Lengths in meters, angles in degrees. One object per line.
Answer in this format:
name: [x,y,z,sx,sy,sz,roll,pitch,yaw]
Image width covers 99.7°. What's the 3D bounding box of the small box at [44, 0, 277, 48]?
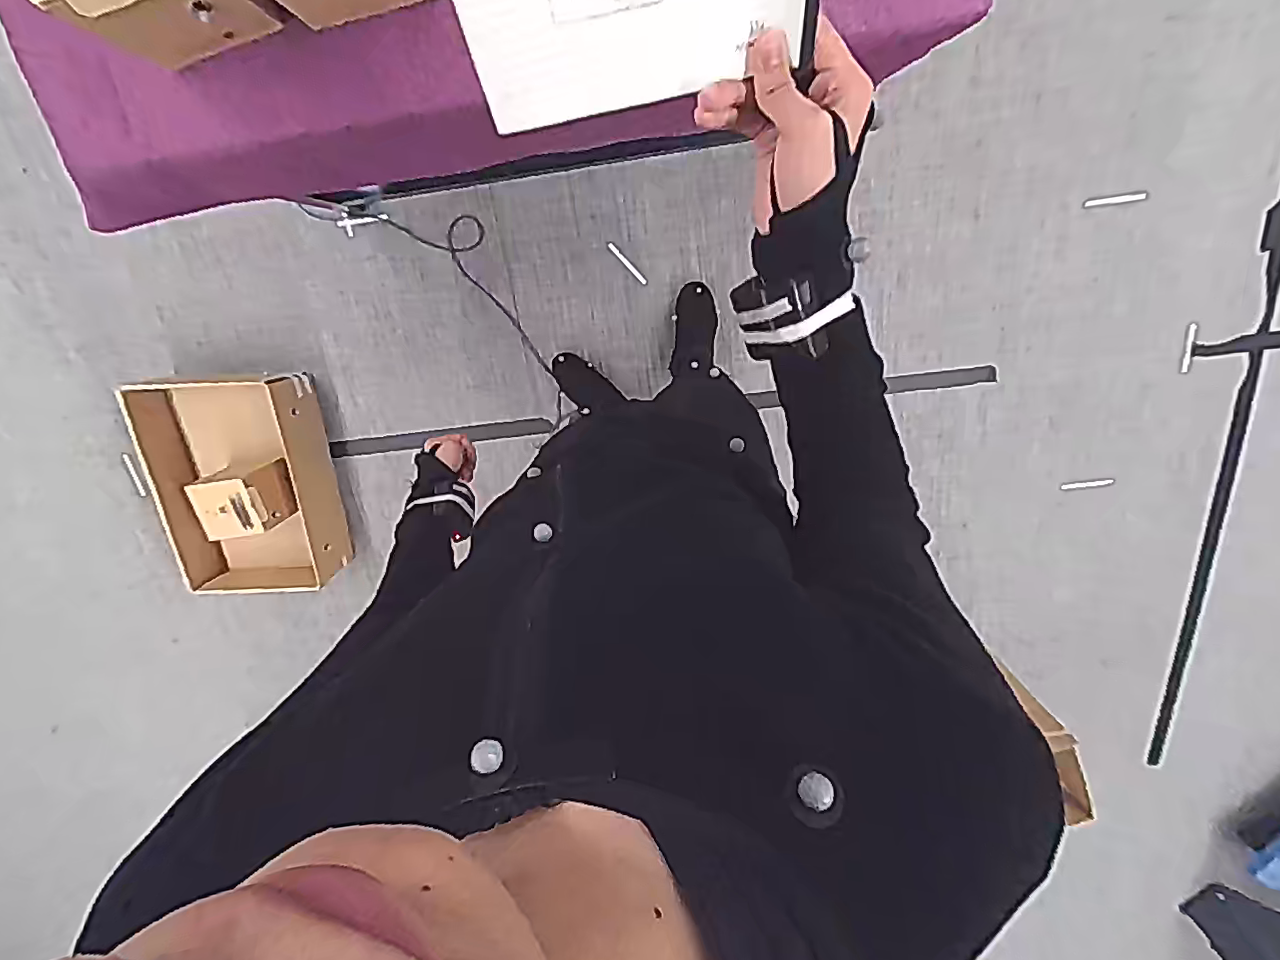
small box: [-0.539,-0.601,0.574,0.168,0.176,0.179,-15,110,5]
